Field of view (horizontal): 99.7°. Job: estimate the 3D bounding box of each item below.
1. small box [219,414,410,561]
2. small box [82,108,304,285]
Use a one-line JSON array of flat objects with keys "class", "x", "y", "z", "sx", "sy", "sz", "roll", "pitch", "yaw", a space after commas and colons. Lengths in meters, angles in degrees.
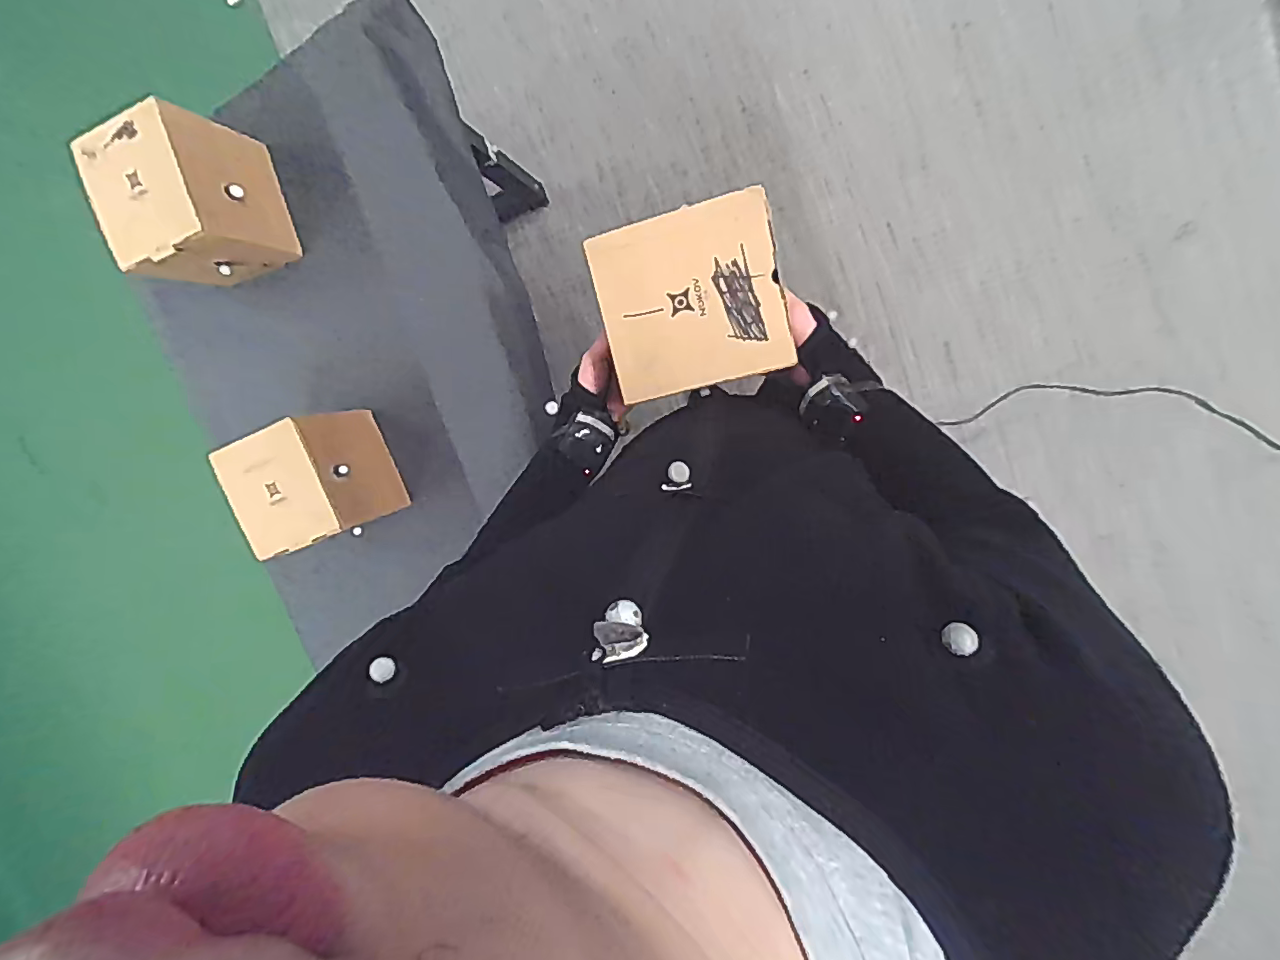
[{"class": "small box", "x": -0.505, "y": 0.005, "z": 0.865, "sx": 0.168, "sy": 0.176, "sz": 0.179, "roll": -20, "pitch": 95, "yaw": 15}, {"class": "small box", "x": -0.652, "y": -0.403, "z": 0.811, "sx": 0.168, "sy": 0.176, "sz": 0.179, "roll": -13, "pitch": 99, "yaw": 15}]
